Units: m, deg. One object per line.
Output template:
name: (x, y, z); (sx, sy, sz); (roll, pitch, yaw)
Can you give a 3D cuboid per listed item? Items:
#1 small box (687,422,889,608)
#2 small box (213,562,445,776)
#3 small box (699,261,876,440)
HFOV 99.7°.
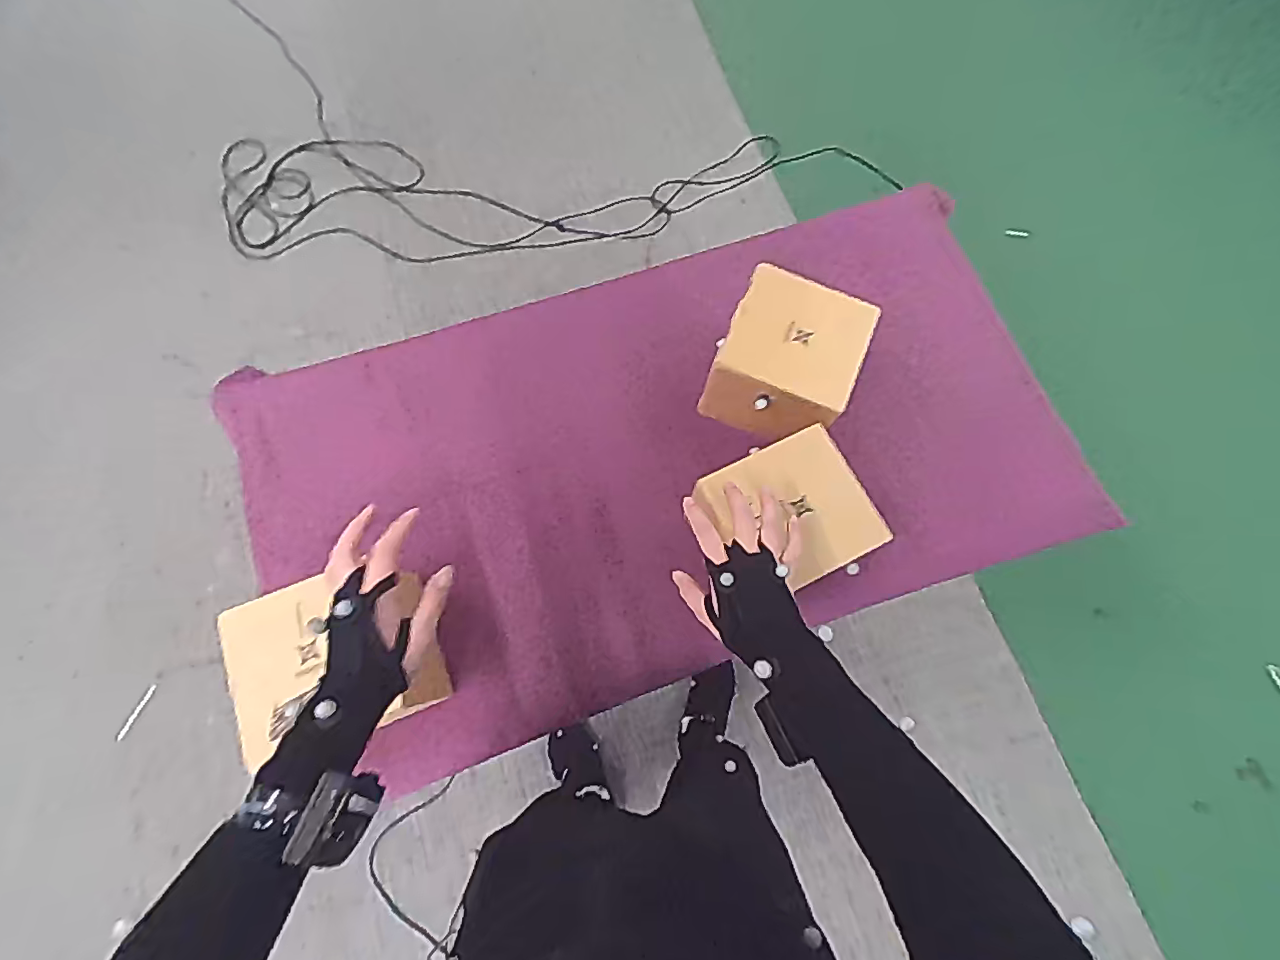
small box: (0.176, 0.054, 0.707); (0.179, 0.176, 0.168); (-26, 75, -7)
small box: (-0.359, 0.218, 0.654); (0.168, 0.176, 0.179); (-22, 74, -7)
small box: (0.199, -0.169, 0.772); (0.179, 0.176, 0.168); (23, 76, 6)
